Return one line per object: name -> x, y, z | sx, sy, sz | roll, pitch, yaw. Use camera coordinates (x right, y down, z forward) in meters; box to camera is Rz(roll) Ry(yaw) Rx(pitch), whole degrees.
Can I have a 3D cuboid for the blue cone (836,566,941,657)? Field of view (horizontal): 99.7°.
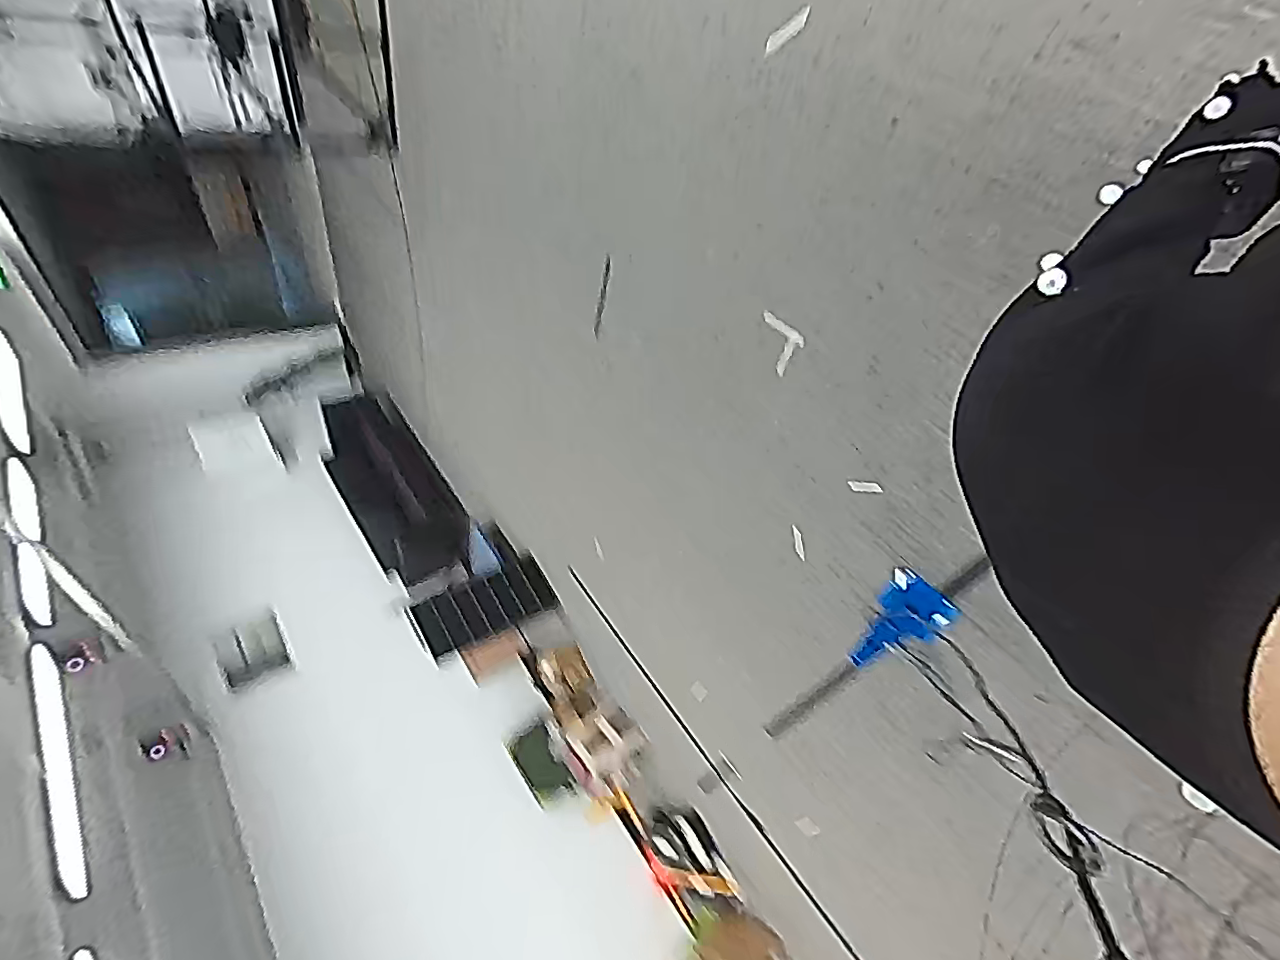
blue cone -> 0.732, 0.444, 1.658 | 0.192, 0.380, 0.193 | 48, 141, 28
